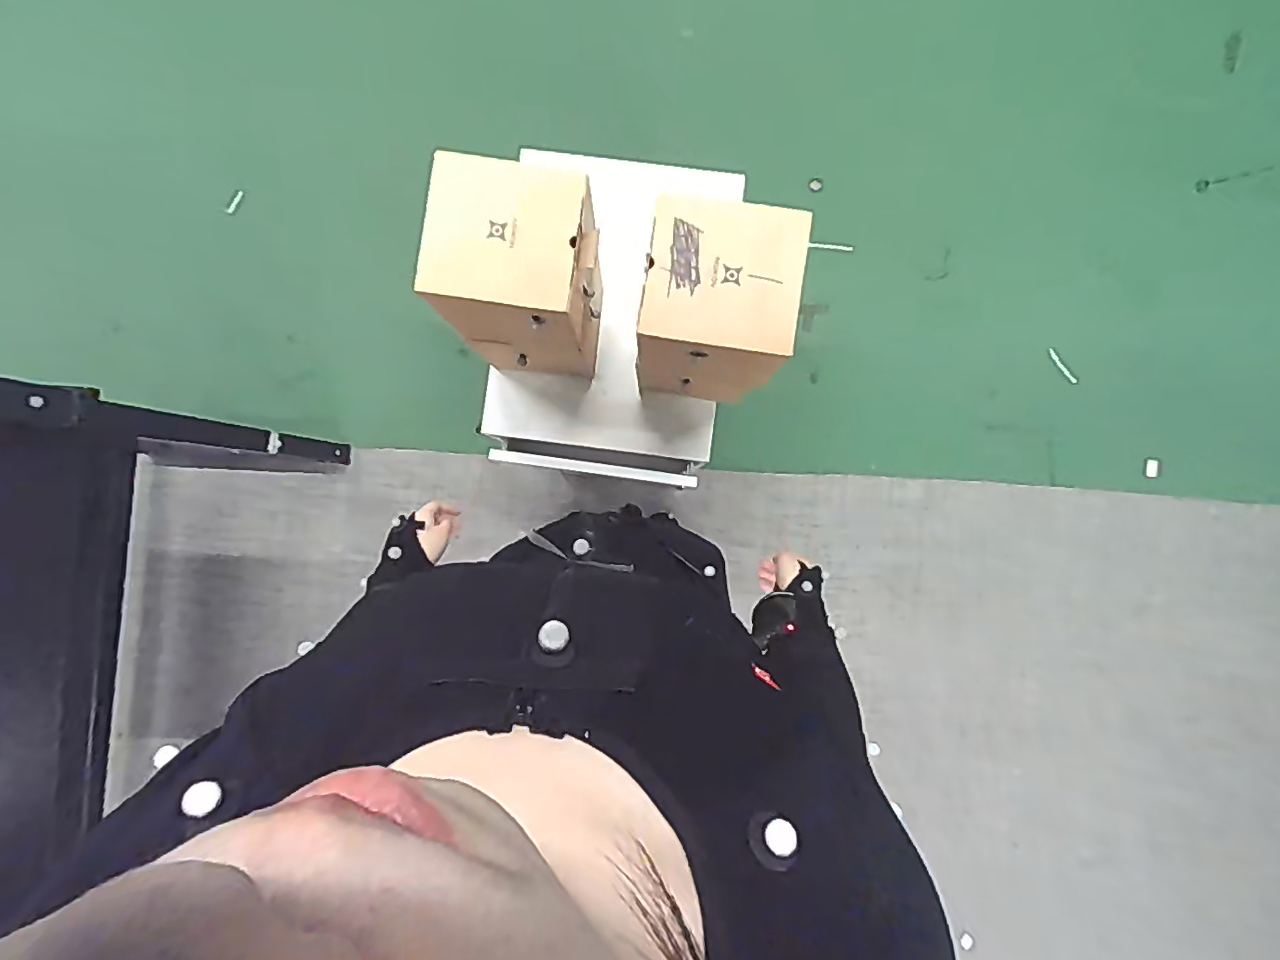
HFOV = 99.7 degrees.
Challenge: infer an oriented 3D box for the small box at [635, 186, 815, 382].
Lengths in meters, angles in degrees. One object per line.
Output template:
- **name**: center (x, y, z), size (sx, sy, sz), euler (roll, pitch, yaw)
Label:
- **small box**: center (0.094, -0.226, 0.666), size (0.179, 0.176, 0.168), euler (9, 89, 0)
